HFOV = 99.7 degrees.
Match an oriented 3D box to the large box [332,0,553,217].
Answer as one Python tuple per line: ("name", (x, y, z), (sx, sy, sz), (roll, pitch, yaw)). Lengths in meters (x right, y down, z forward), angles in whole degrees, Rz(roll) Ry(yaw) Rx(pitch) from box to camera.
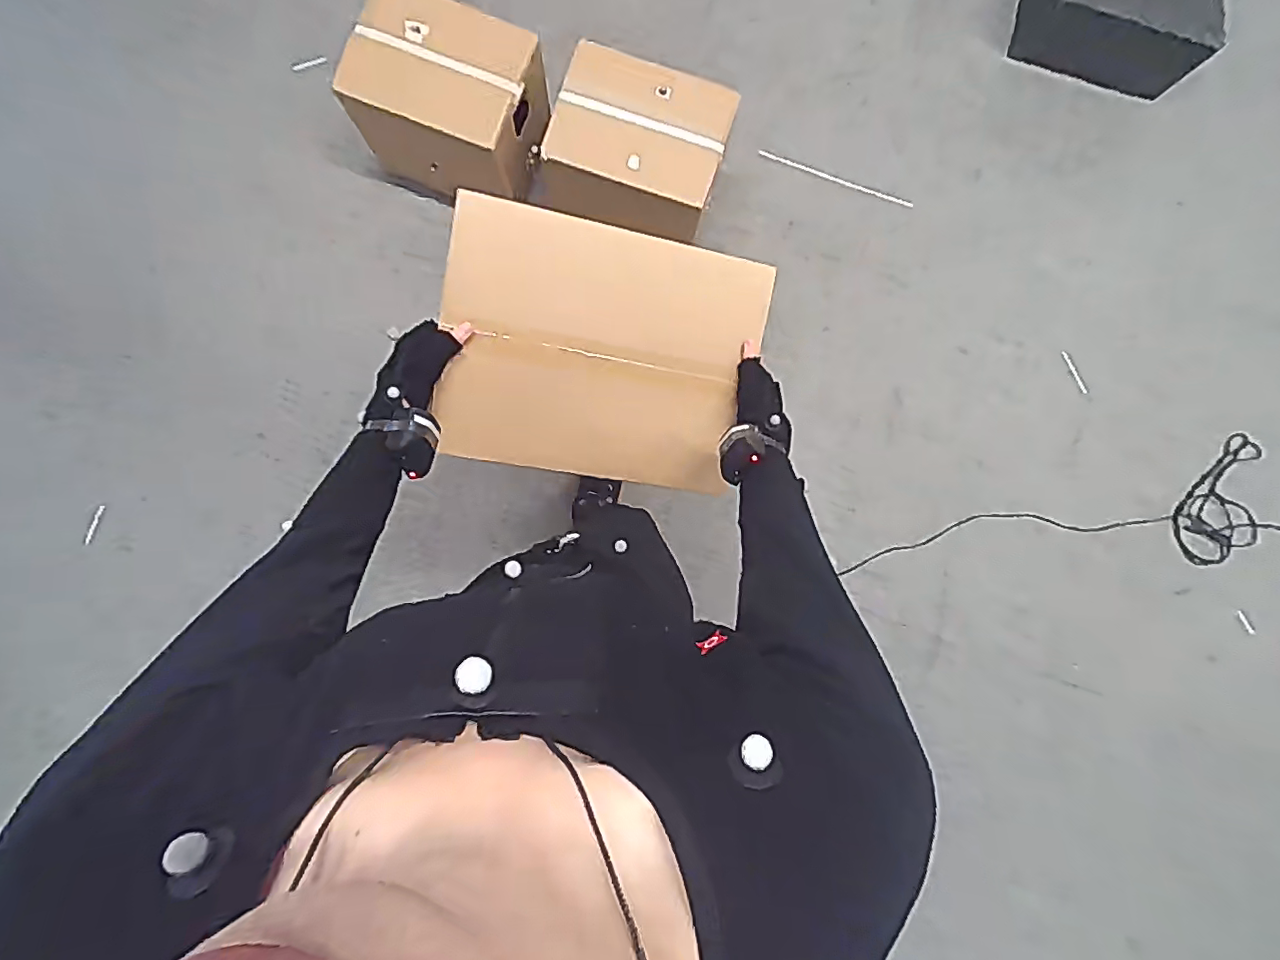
("large box", (-0.477, -0.957, 1.402), (0.408, 0.320, 0.320), (20, 85, 0))
